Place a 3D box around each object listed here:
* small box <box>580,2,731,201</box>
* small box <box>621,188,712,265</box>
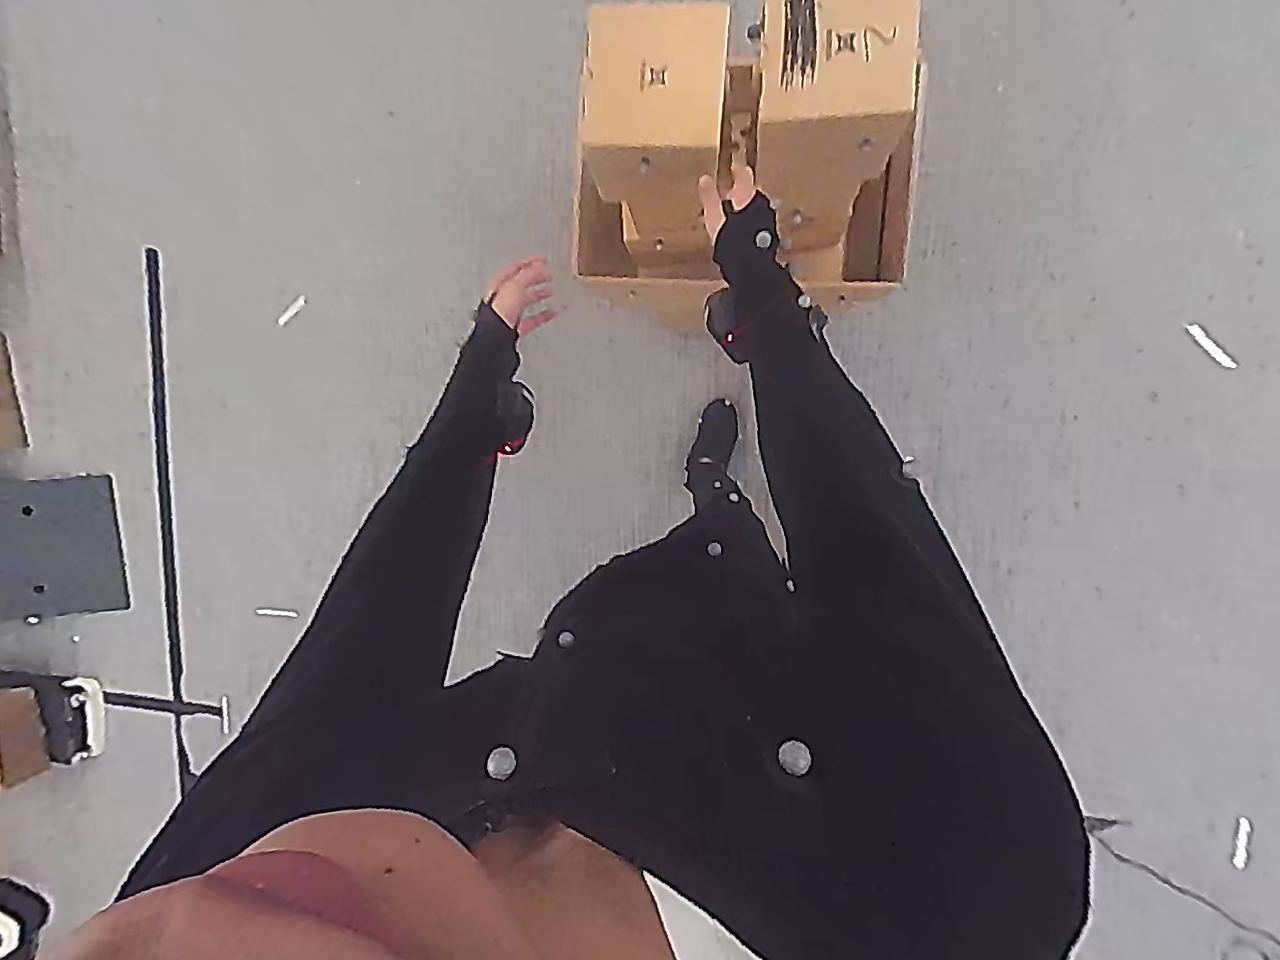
[{"bbox_3d":[0.025,-0.501,0.739,0.179,0.176,0.168,5,96,6],"label":"small box"},{"bbox_3d":[0.056,-0.542,1.060,0.168,0.176,0.179,-2,94,9],"label":"small box"}]
